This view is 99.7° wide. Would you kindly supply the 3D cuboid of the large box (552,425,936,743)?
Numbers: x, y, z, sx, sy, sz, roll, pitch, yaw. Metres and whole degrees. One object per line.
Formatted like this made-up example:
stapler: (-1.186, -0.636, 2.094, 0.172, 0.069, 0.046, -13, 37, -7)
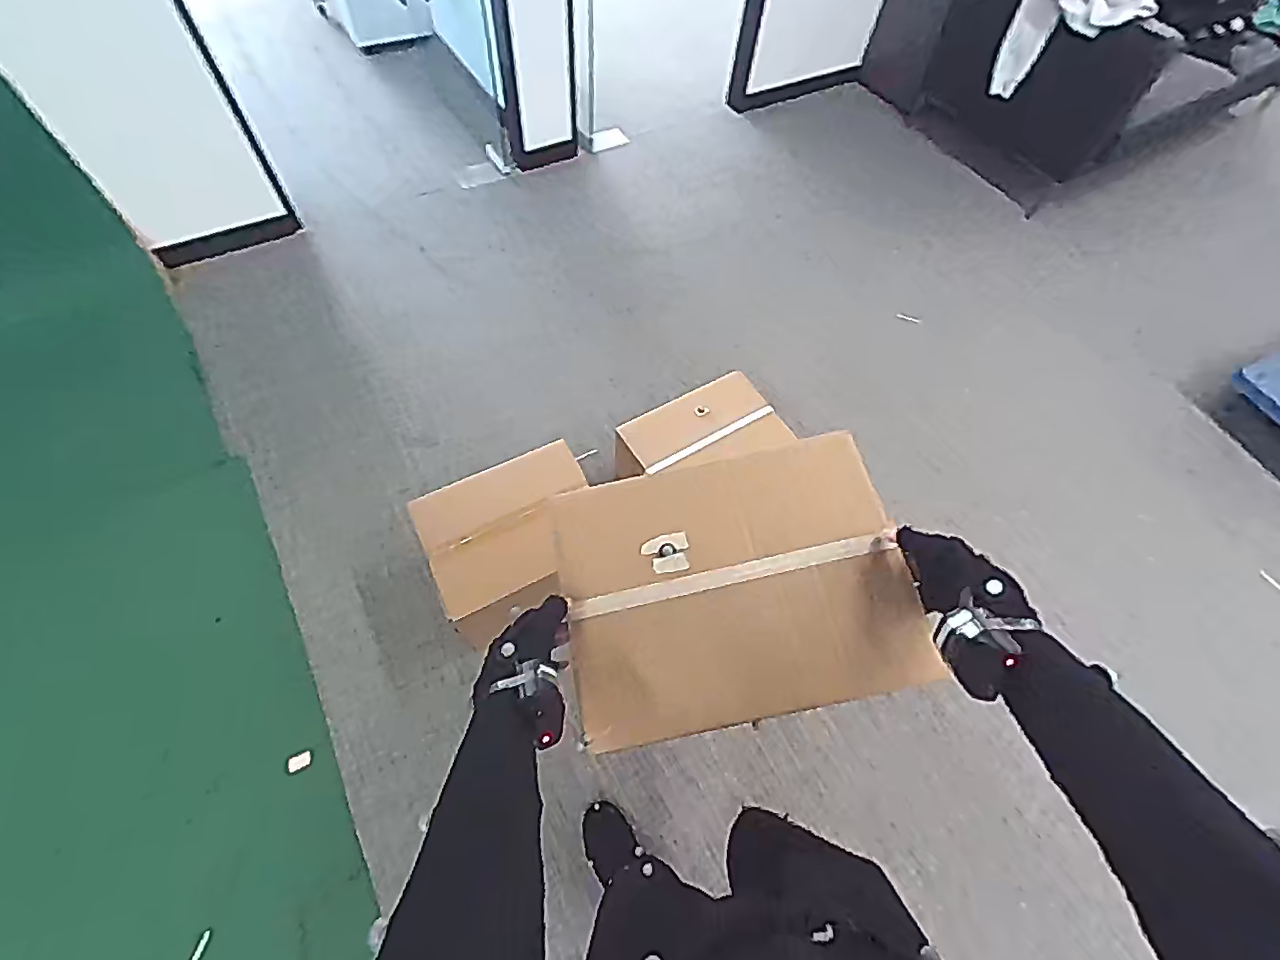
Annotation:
large box: (0.123, 0.162, 0.788, 0.408, 0.320, 0.320, -13, 67, 2)
